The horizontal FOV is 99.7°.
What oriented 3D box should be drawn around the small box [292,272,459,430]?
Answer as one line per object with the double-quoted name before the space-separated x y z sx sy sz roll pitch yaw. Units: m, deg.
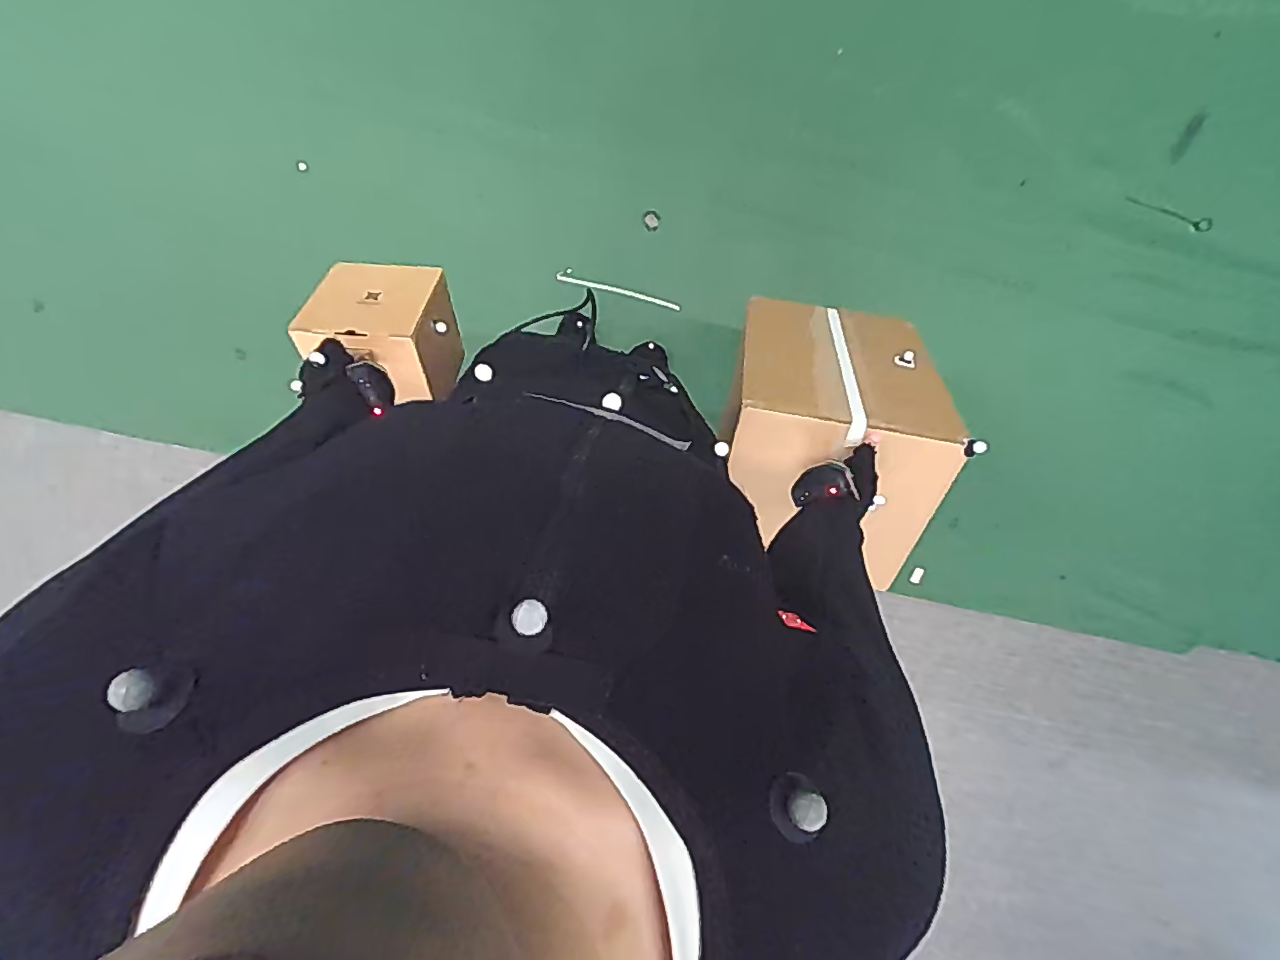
"small box" -0.394 -0.200 0.847 0.168 0.179 0.176 2 141 -2
